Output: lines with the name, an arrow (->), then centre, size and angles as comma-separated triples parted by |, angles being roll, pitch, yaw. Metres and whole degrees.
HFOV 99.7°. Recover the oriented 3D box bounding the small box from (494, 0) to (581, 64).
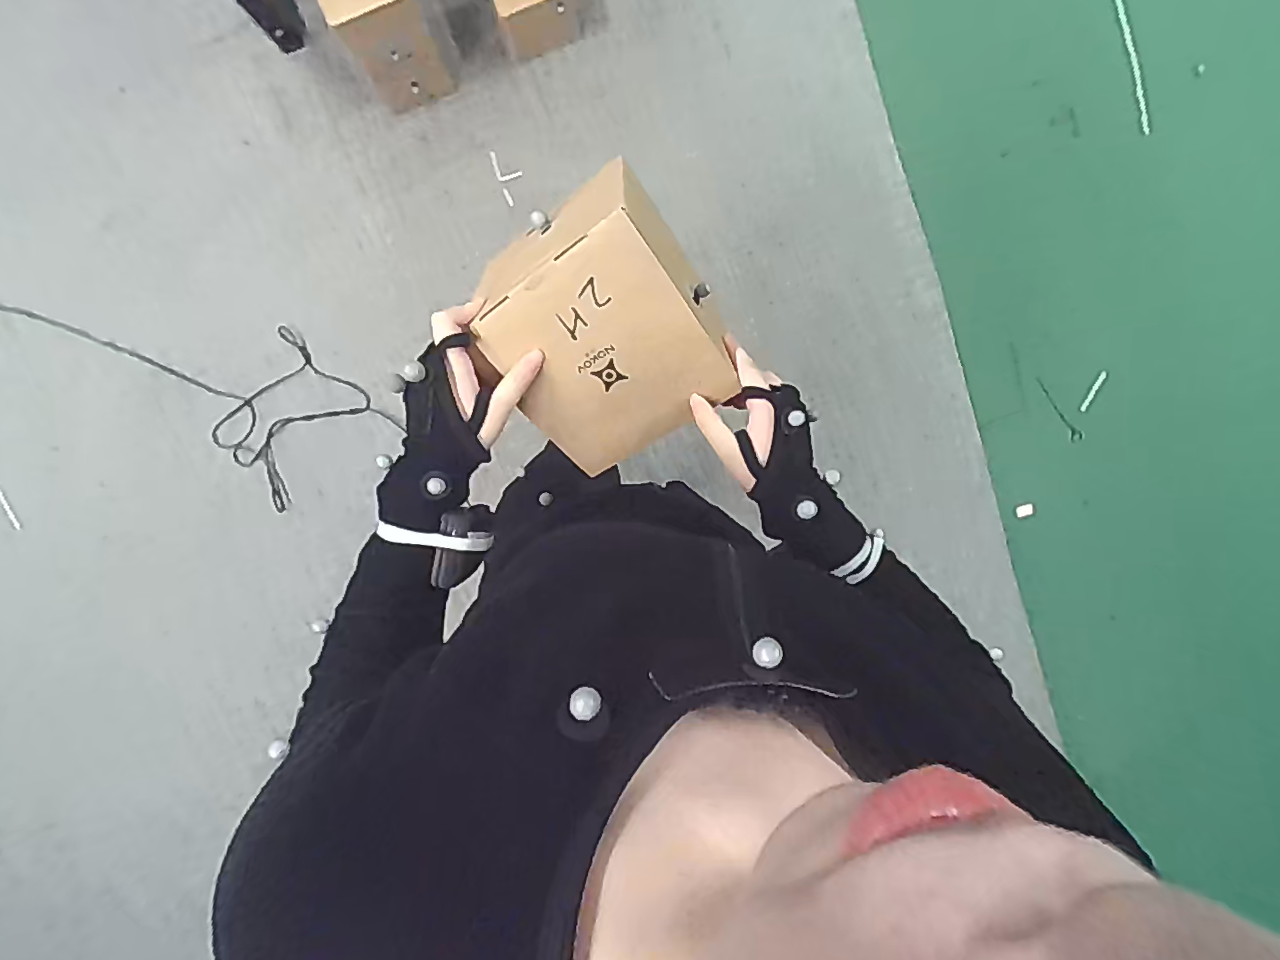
small box -> -0.250, -1.128, 1.263 | 0.179, 0.176, 0.168 | -22, 98, 0
